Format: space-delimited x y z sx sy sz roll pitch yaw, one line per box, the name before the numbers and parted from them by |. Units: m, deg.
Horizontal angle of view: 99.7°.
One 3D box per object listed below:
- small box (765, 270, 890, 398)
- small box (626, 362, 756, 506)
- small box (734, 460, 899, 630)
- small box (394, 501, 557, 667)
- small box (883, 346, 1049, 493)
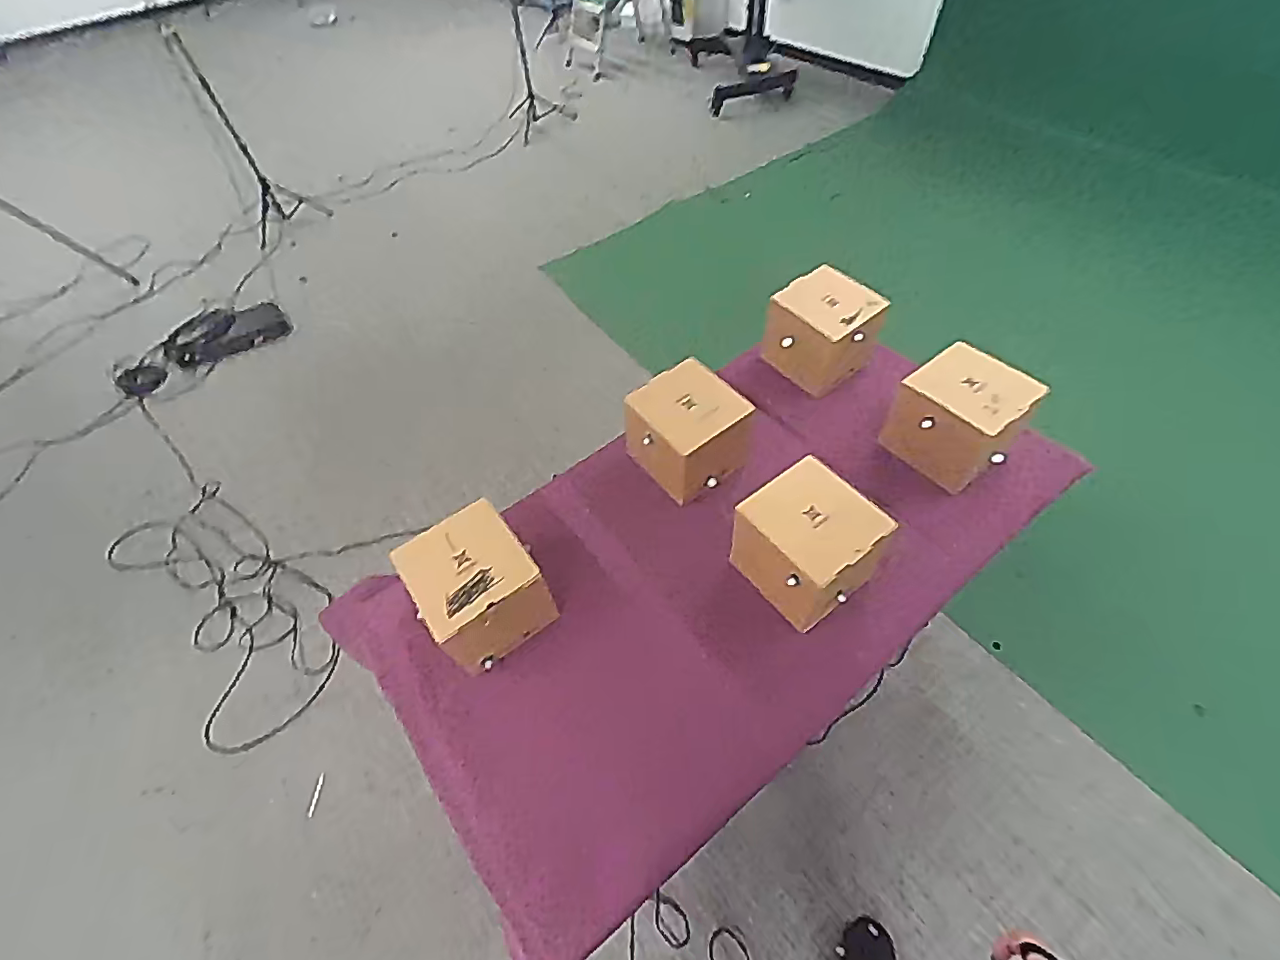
small box | 0.390 -0.309 1.159 0.168 0.176 0.179 -35 60 -17
small box | 0.091 -0.083 1.023 0.168 0.176 0.179 -33 60 -18
small box | 0.269 0.107 0.871 0.168 0.176 0.179 -32 57 -18
small box | -0.251 0.173 0.858 0.168 0.176 0.179 -33 59 -19
small box | 0.585 -0.109 0.999 0.168 0.176 0.179 -33 57 -17
